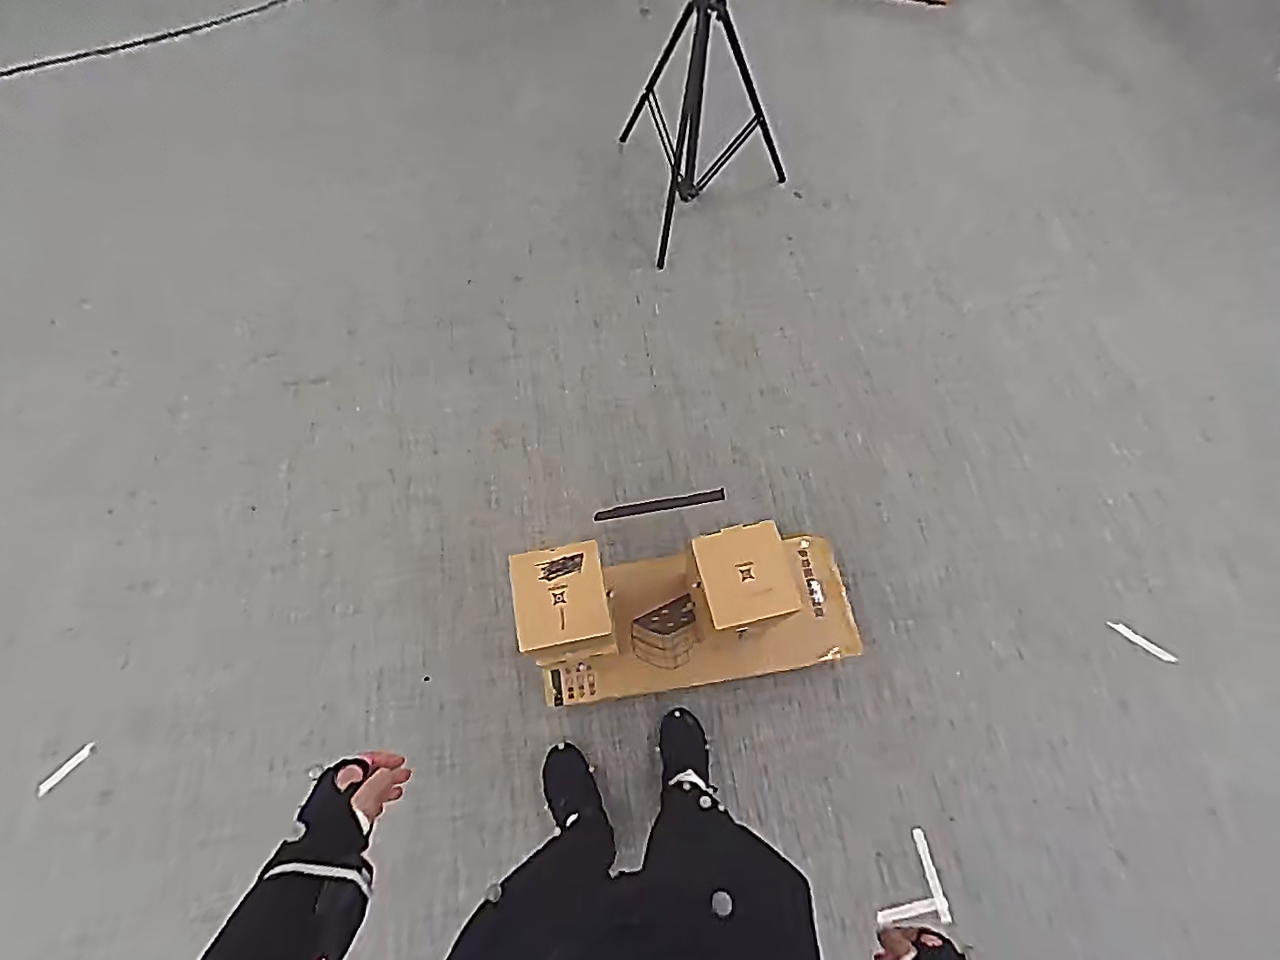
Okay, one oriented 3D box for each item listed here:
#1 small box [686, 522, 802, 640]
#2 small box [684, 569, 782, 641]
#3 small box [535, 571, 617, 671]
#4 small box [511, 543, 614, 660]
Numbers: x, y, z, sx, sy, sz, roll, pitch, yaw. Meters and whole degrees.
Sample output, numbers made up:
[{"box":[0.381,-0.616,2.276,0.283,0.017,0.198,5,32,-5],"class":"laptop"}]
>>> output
[{"box":[0.192,0.203,1.064,0.168,0.176,0.179,-13,69,-4],"class":"small box"},{"box":[0.201,0.261,1.215,0.168,0.176,0.179,-10,70,-5],"class":"small box"},{"box":[-0.143,0.314,1.190,0.168,0.176,0.179,-9,69,-4],"class":"small box"},{"box":[-0.146,0.239,1.043,0.168,0.176,0.179,-10,69,-5],"class":"small box"}]
